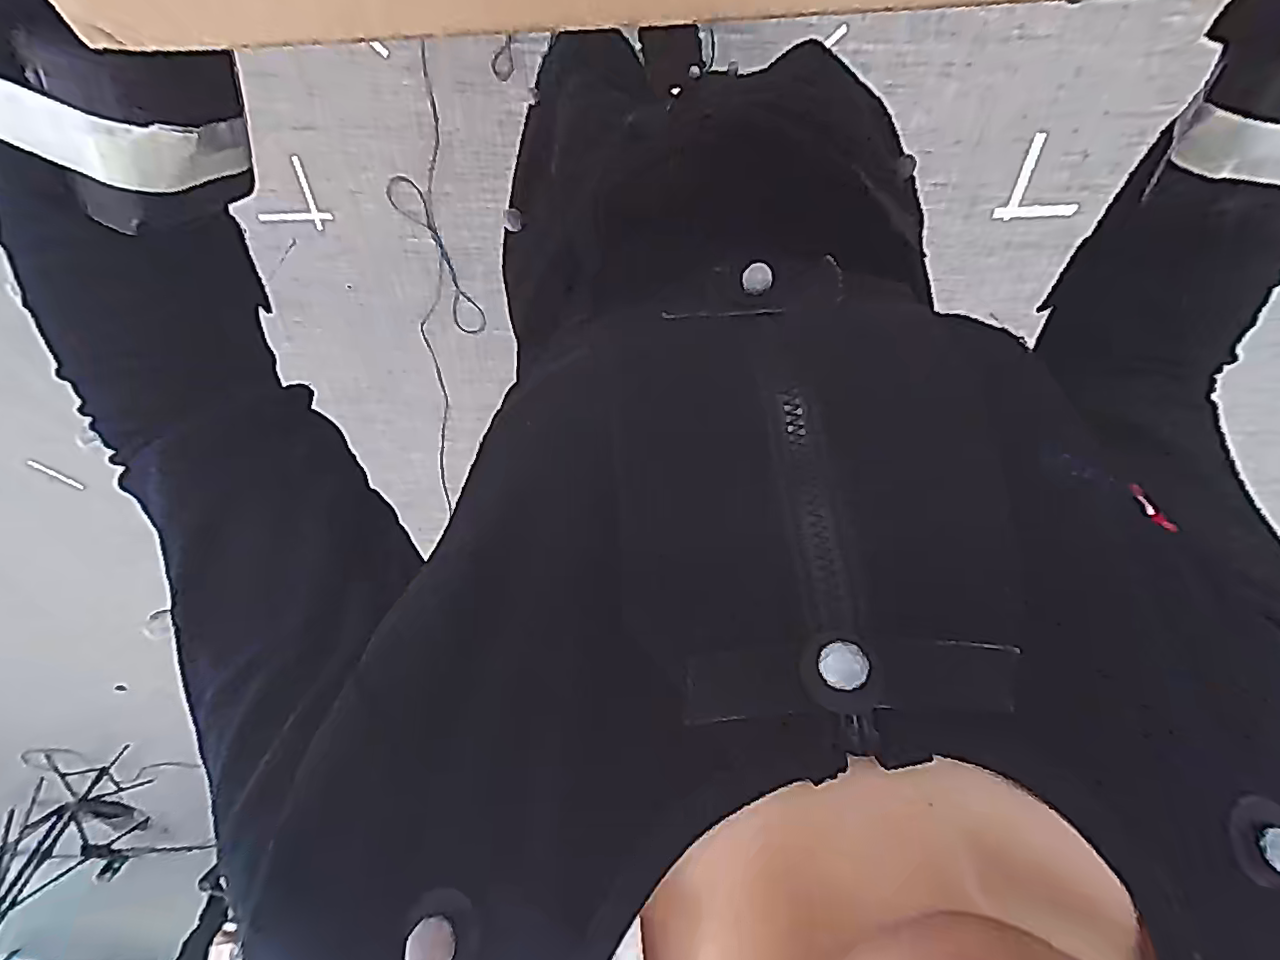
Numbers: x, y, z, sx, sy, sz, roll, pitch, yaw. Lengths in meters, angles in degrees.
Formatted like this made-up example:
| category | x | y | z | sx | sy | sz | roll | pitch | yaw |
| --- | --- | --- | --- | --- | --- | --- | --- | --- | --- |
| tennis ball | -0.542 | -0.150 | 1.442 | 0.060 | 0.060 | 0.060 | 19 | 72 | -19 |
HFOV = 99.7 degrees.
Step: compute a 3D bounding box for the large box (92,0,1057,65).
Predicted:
| category | x | y | z | sx | sy | sz | roll | pitch | yaw |
| --- | --- | --- | --- | --- | --- | --- | --- | --- | --- |
| large box | 0.024 | -0.355 | 0.128 | 0.408 | 0.320 | 0.320 | -6 | 145 | -3 |
